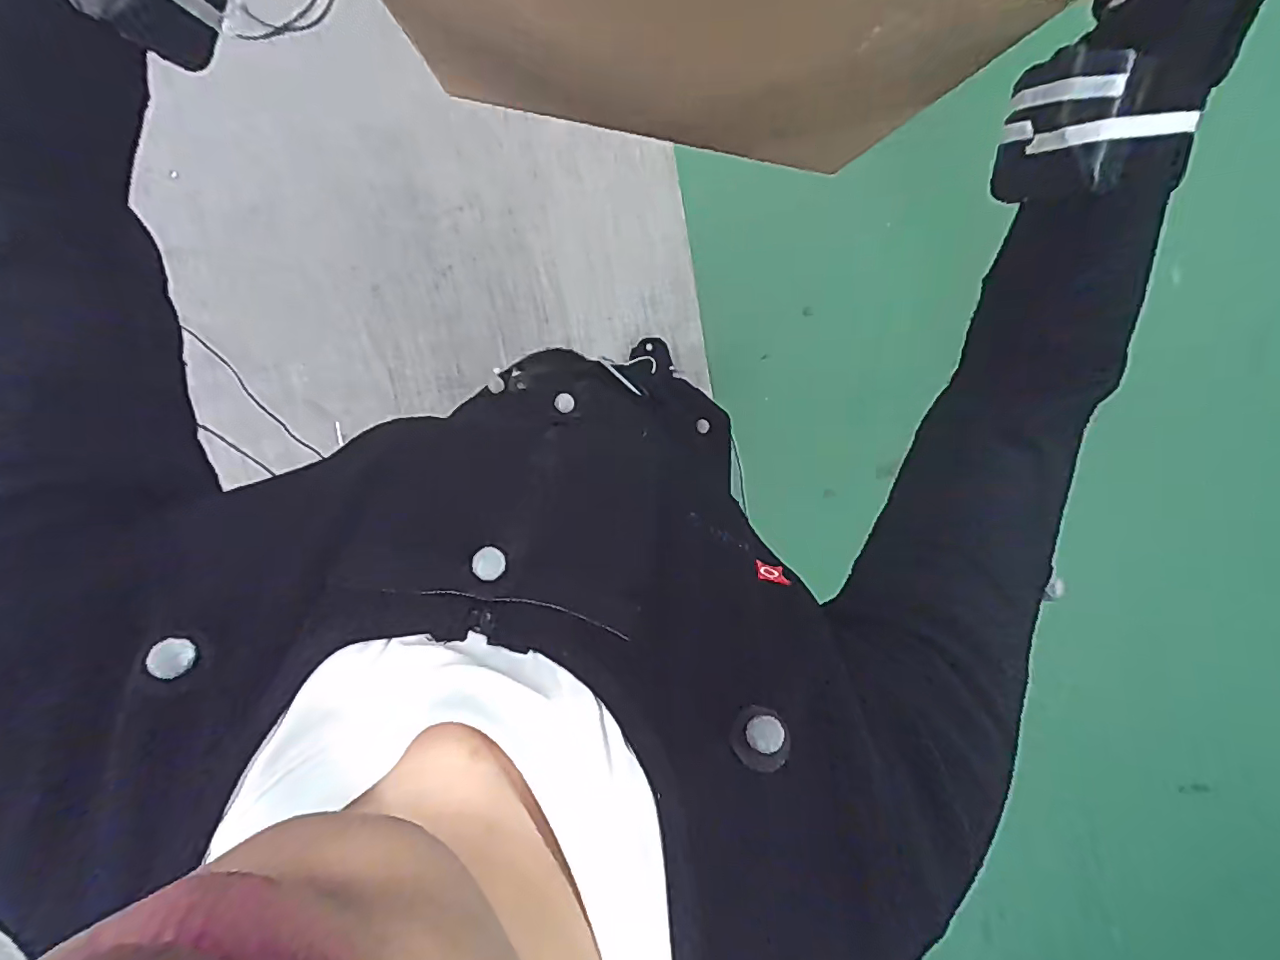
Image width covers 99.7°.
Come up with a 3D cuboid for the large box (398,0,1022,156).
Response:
[{"bbox_3d":[0.037,-0.467,0.368,0.408,0.320,0.320,8,105,-6],"label":"large box"}]
